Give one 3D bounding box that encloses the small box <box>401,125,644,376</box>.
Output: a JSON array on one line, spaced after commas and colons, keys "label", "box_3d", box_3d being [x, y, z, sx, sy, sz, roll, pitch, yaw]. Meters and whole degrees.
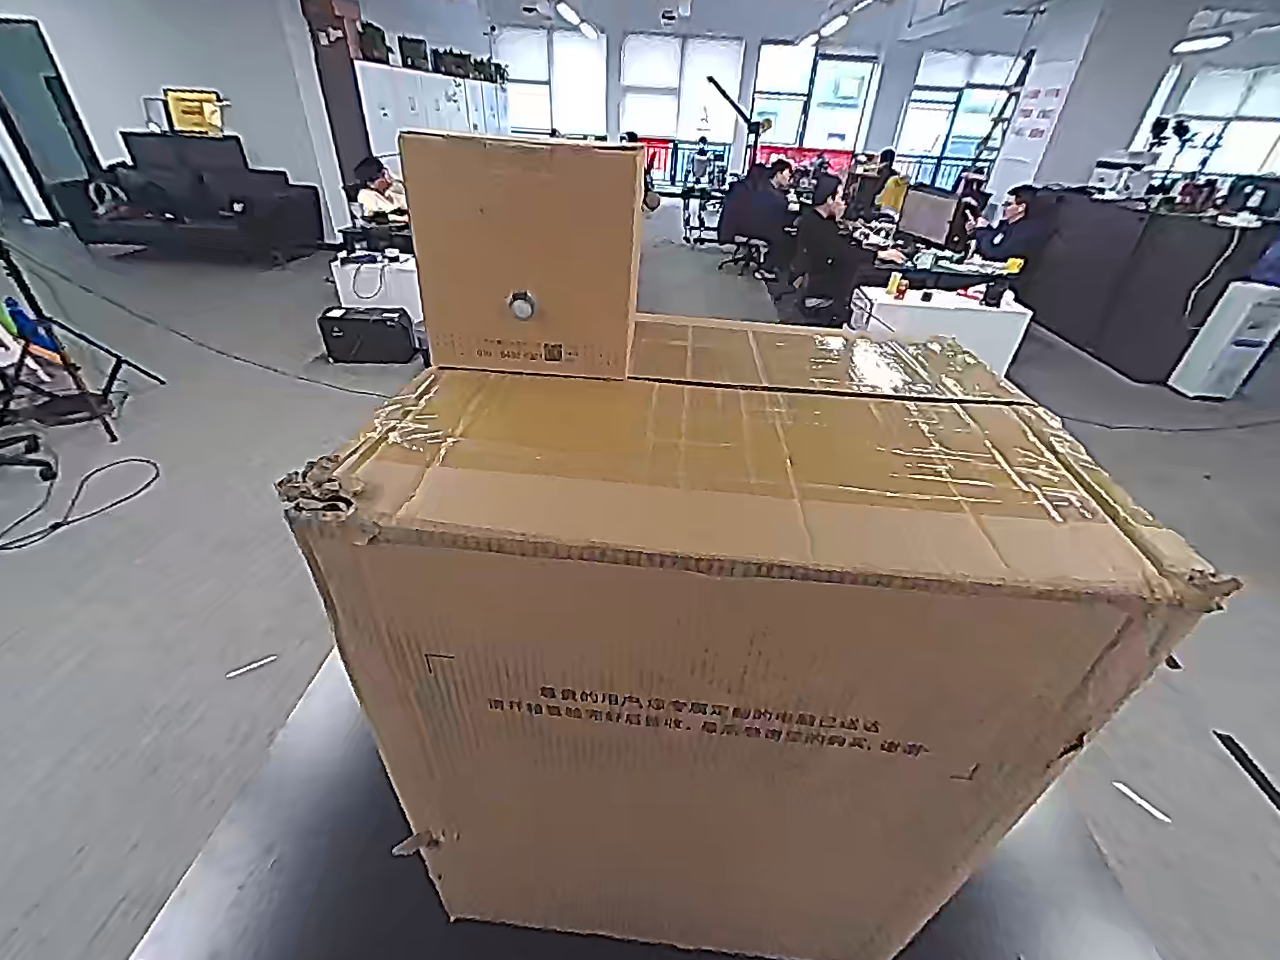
[{"label": "small box", "box_3d": [-0.087, -0.206, 0.481, 0.168, 0.176, 0.179, 3, 32, 0]}]
